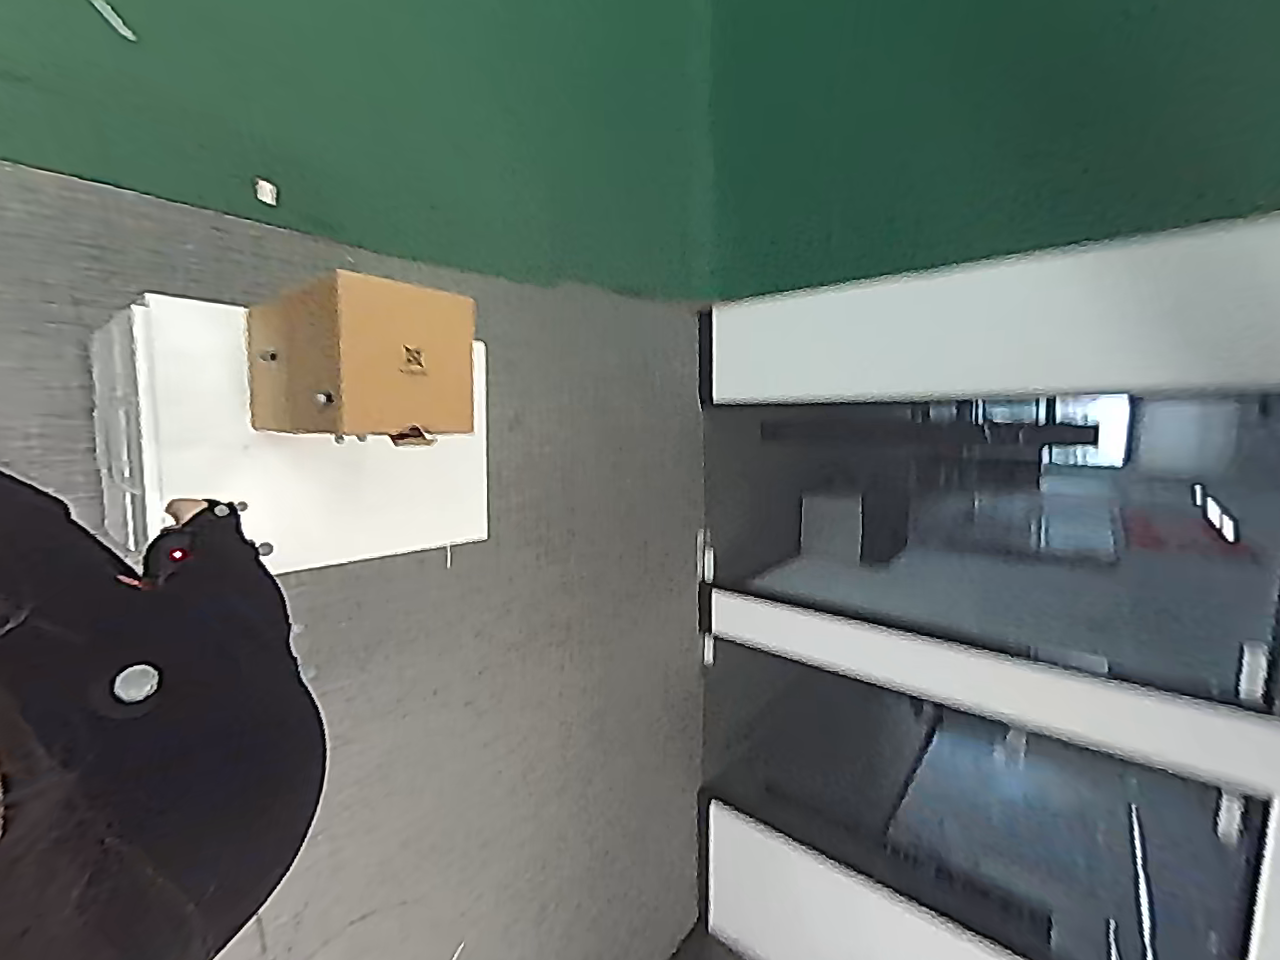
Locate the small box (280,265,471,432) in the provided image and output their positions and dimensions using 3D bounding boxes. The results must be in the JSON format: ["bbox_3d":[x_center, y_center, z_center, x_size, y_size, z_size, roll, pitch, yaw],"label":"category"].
[{"bbox_3d":[-0.332,-0.151,0.681,0.168,0.176,0.179,-6,101,-51],"label":"small box"}]

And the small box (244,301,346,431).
[{"bbox_3d":[-0.455,-0.160,0.788,0.168,0.176,0.179,-6,99,-50],"label":"small box"}]
